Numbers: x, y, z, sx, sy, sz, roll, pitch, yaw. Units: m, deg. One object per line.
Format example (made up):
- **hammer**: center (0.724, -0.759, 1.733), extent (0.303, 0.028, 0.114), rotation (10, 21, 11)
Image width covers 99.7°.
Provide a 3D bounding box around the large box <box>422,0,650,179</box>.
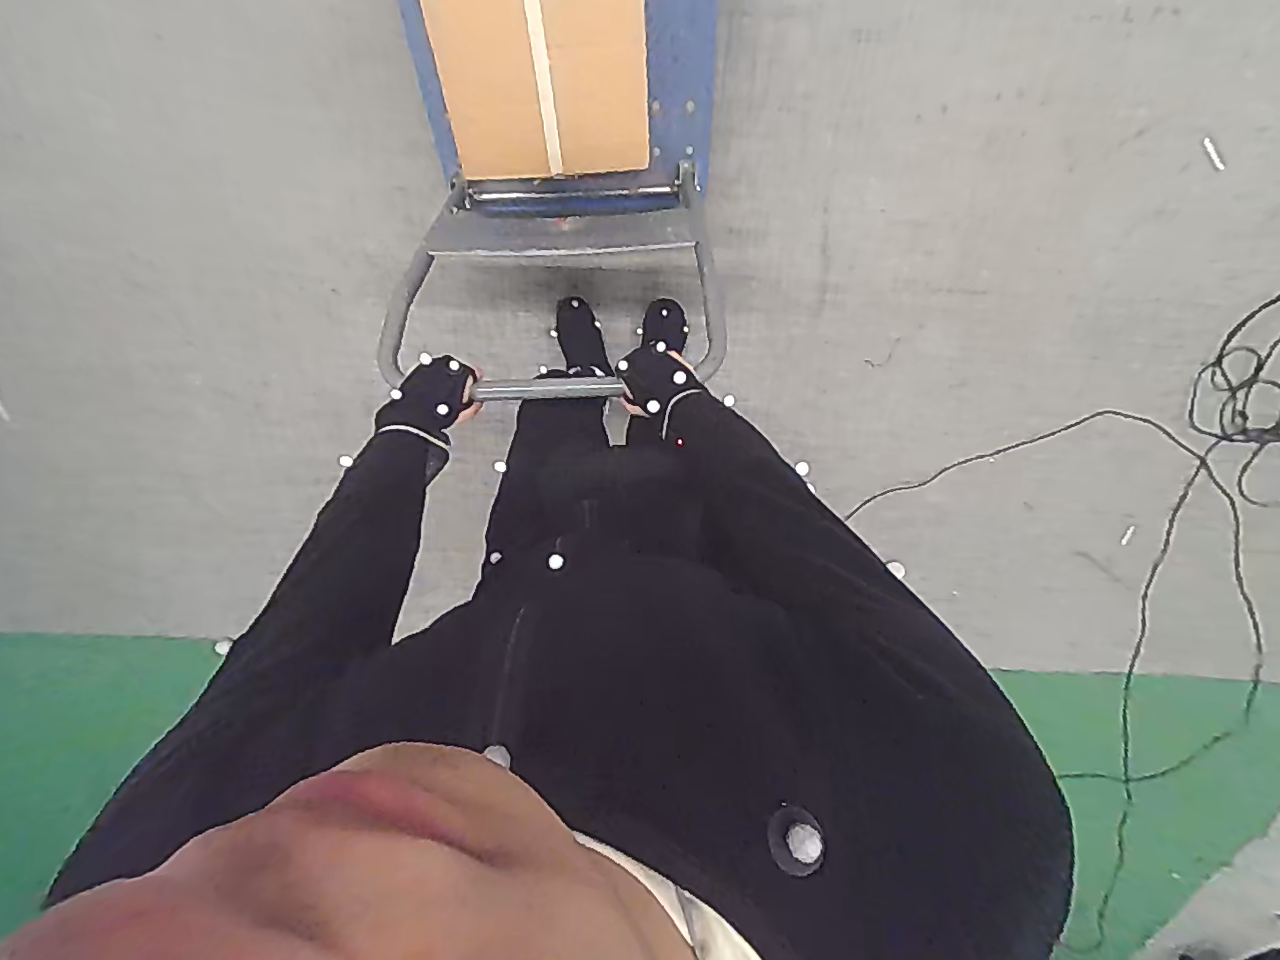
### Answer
- **large box**: center (-0.151, -0.762, 0.879), extent (0.320, 0.320, 0.408), rotation (-3, 135, 2)
